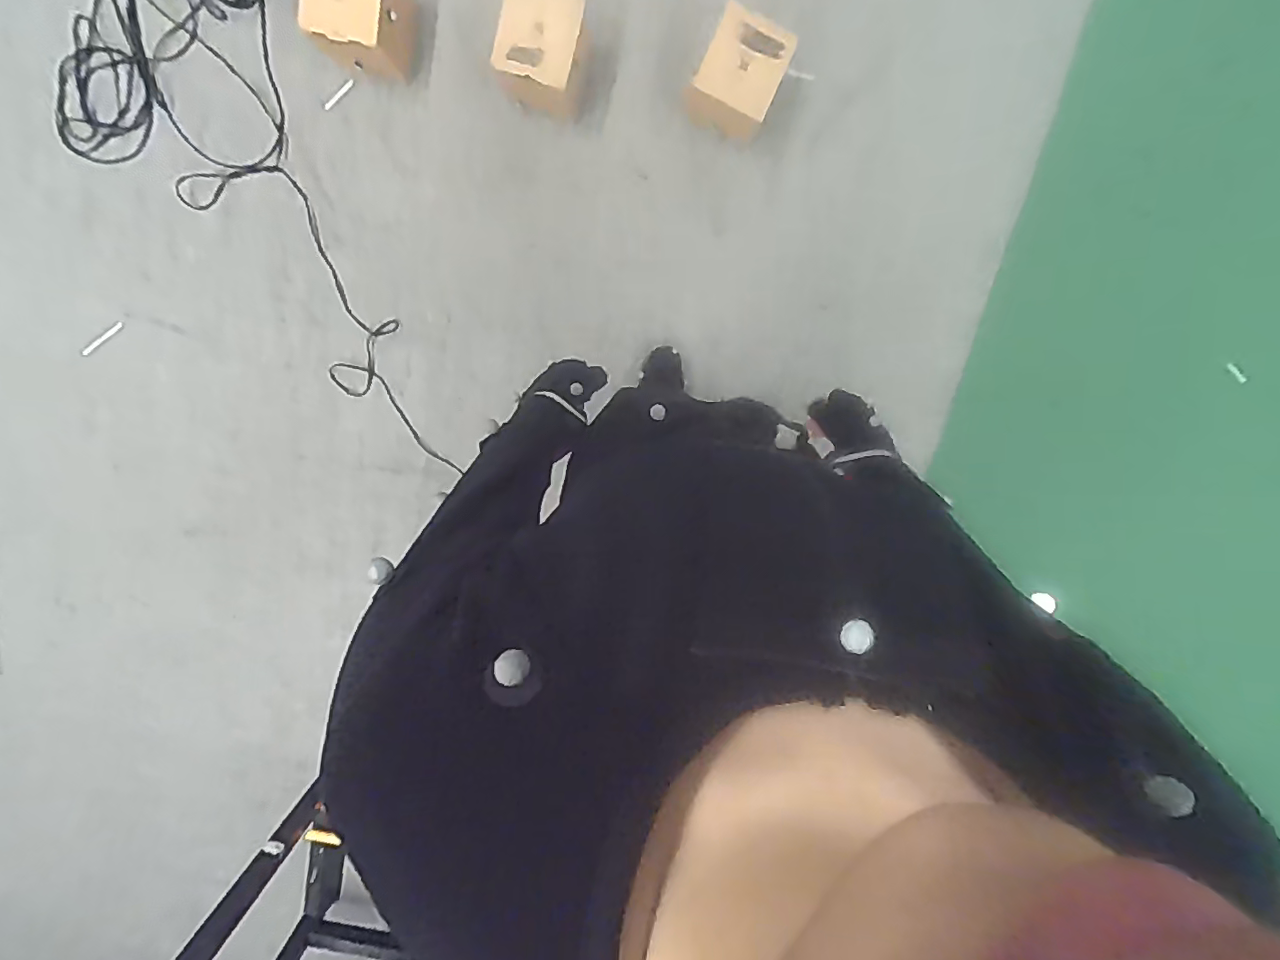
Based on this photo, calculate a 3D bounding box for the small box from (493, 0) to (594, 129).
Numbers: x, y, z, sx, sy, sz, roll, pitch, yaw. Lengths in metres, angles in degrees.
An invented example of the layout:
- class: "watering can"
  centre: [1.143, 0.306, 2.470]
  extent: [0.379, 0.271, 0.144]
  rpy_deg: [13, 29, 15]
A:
- class: "small box"
  centre: [-0.206, -0.922, 1.200]
  extent: [0.168, 0.176, 0.179]
  rpy_deg: [17, 101, -2]

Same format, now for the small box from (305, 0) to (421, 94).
- class: "small box"
  centre: [-0.601, -1.002, 1.191]
  extent: [0.168, 0.176, 0.179]
  rpy_deg: [12, 102, -1]
